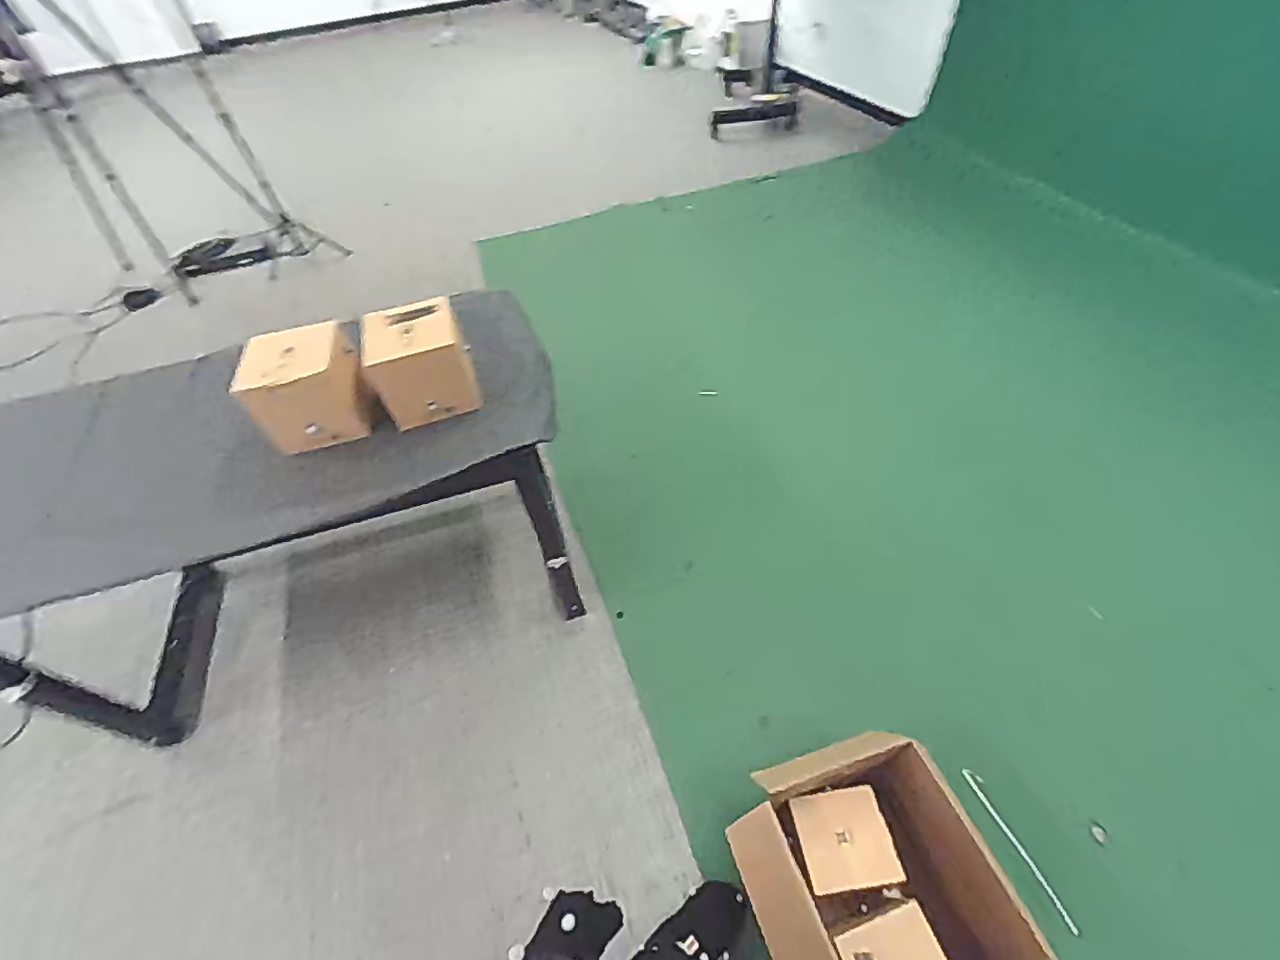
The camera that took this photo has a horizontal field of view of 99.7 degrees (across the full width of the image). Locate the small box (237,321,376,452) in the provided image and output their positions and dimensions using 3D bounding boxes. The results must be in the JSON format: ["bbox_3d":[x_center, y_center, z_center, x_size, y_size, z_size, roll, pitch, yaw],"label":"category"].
[{"bbox_3d":[-0.644,-0.184,1.071,0.168,0.176,0.179,-14,50,-6],"label":"small box"}]
